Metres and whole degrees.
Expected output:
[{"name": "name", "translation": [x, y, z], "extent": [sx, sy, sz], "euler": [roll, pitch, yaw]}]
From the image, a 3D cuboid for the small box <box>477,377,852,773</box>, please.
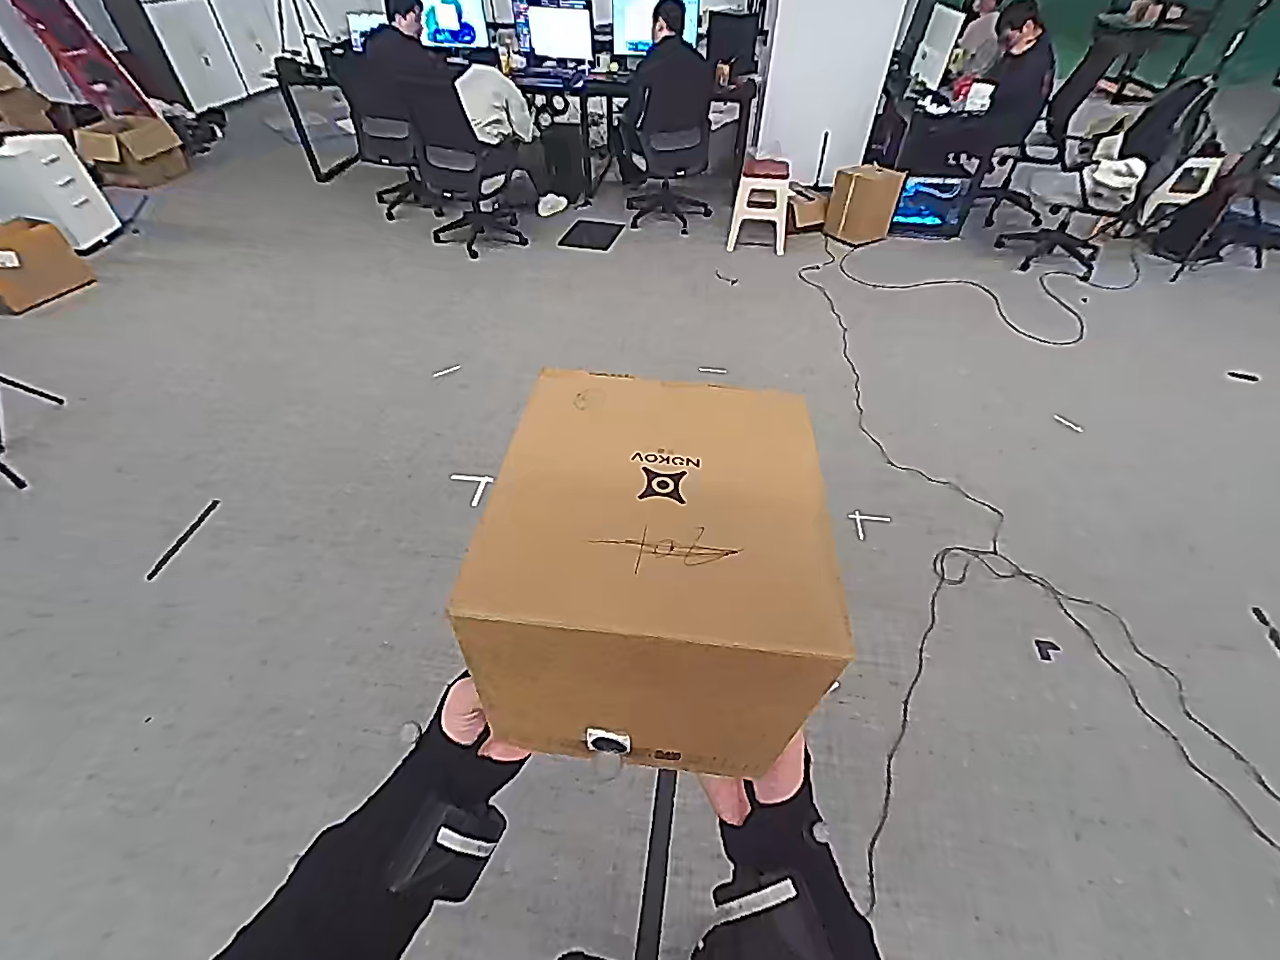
[{"name": "small box", "translation": [0.012, 0.060, 0.344], "extent": [0.168, 0.176, 0.179], "euler": [6, 47, 1]}]
